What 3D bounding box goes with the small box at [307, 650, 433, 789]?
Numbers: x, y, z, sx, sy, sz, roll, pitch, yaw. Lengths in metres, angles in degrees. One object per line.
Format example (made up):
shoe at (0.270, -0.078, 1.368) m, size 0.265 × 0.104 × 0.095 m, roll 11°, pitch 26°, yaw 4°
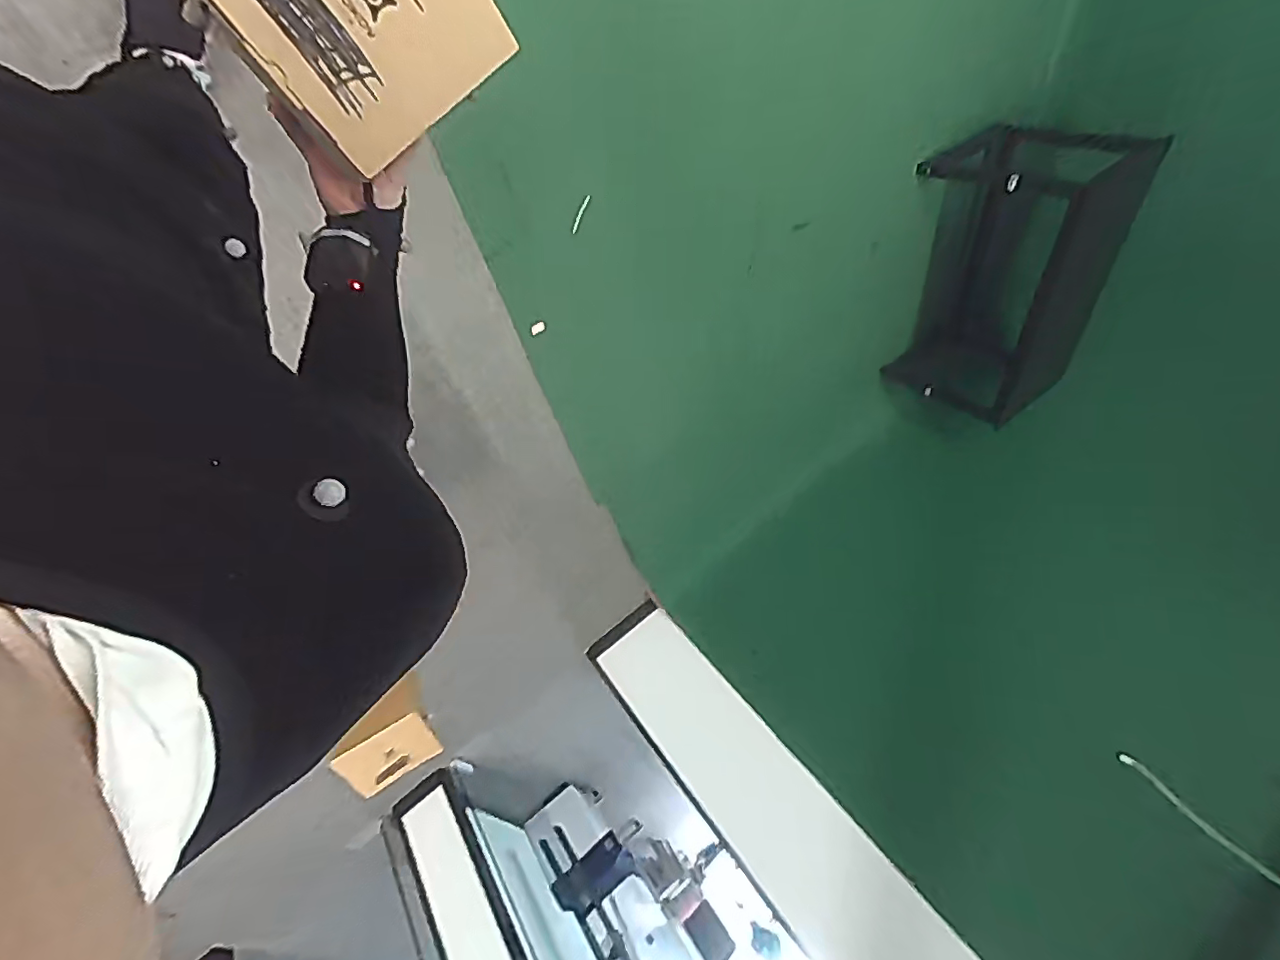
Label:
small box at (-0.564, 0.495, 1.133) m, size 0.168 × 0.176 × 0.179 m, roll -28°, pitch 135°, yaw -23°
